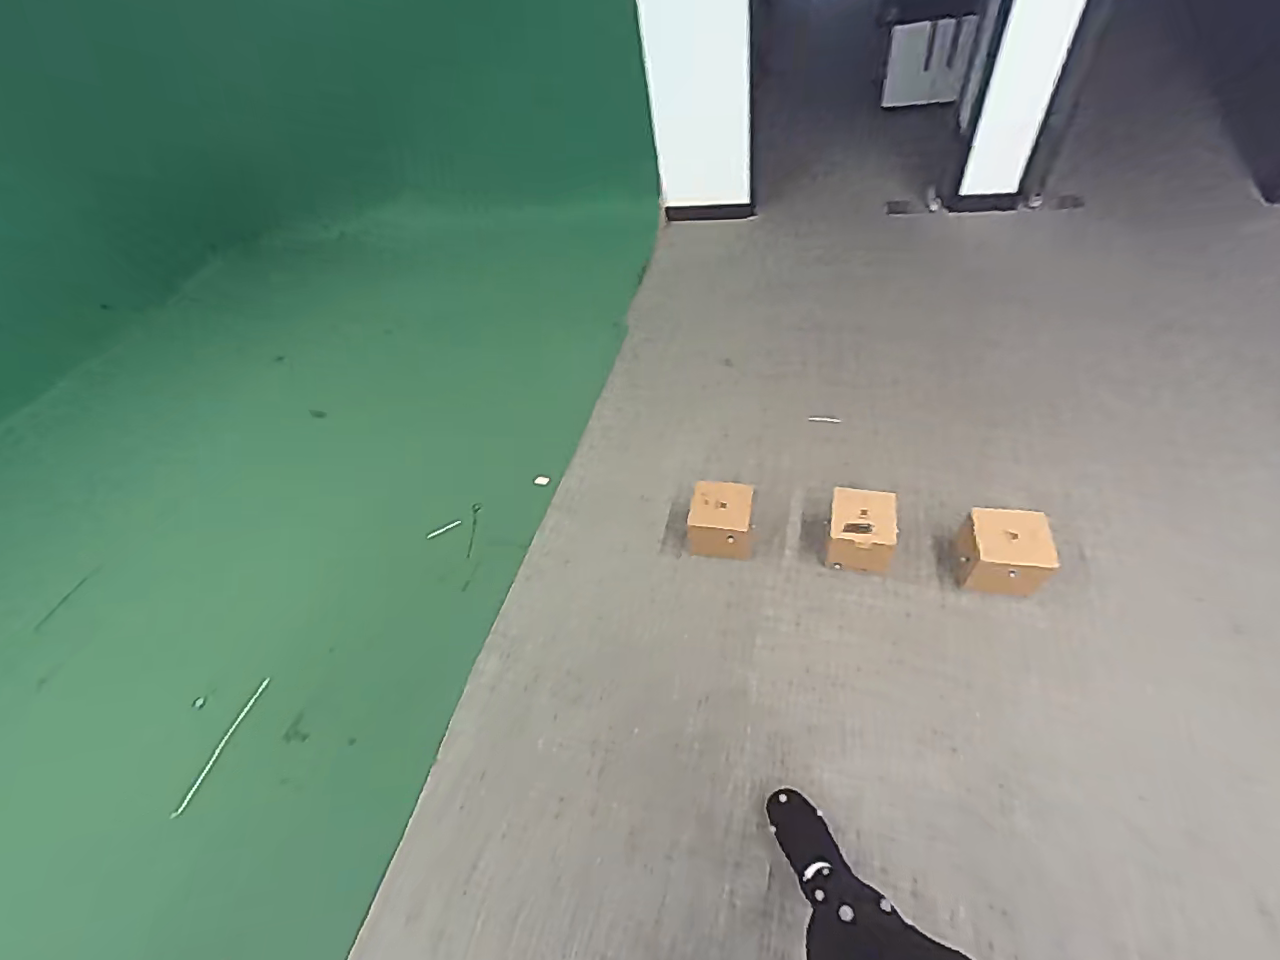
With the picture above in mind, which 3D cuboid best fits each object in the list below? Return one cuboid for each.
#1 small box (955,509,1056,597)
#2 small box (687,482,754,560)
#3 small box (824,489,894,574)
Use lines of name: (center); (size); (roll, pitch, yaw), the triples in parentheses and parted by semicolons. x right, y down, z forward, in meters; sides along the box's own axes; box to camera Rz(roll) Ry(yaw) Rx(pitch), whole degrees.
small box: (0.958, 0.197, 1.439); (0.179, 0.176, 0.168); (4, 54, 15)
small box: (0.249, 0.129, 1.645); (0.179, 0.176, 0.168); (6, 53, 16)
small box: (0.624, 0.150, 1.547); (0.168, 0.176, 0.179); (6, 53, 16)
